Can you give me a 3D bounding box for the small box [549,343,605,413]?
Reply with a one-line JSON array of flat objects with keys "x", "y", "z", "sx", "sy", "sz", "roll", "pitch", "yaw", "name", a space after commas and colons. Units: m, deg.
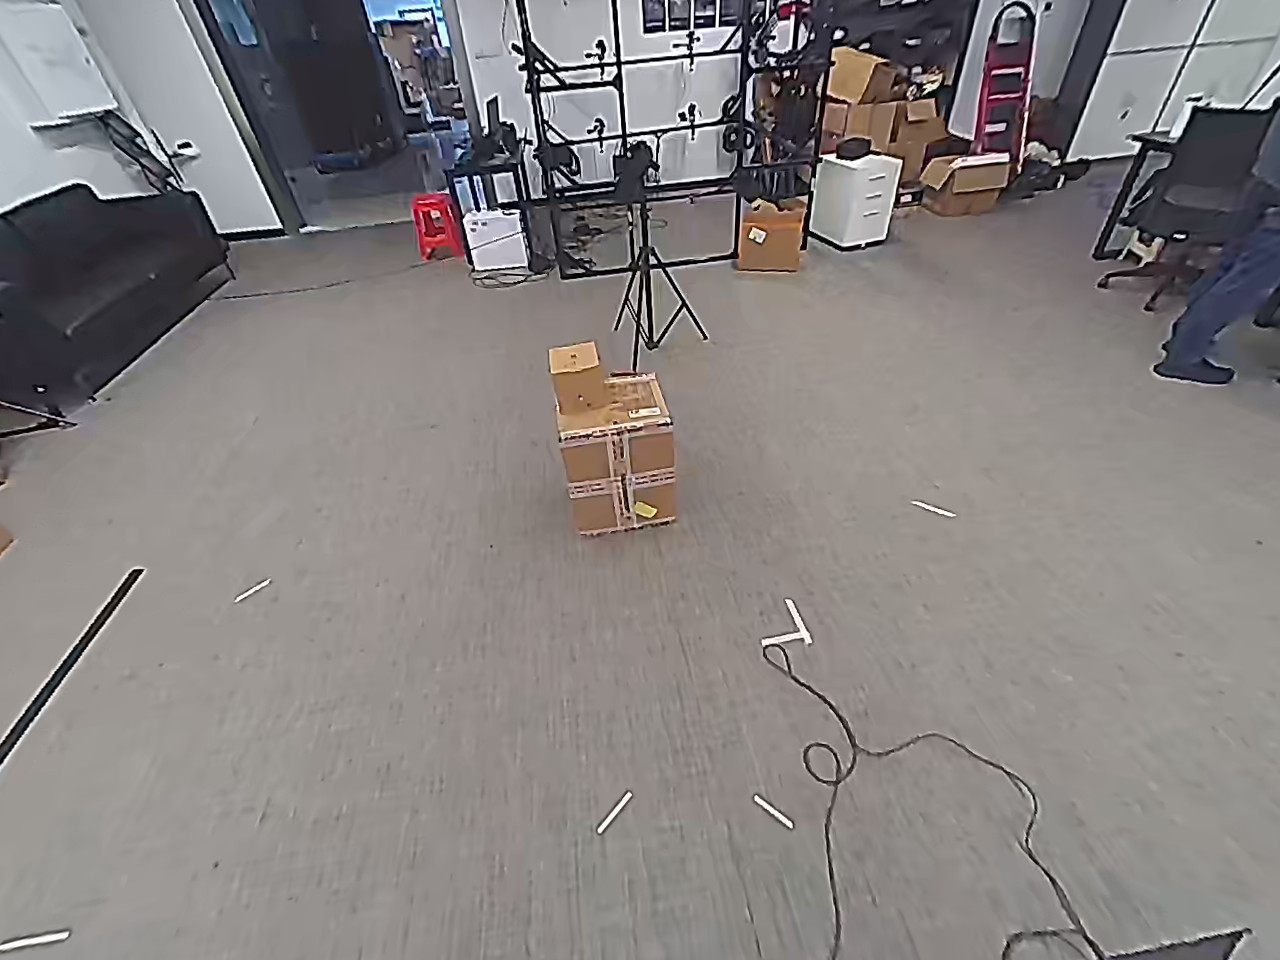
[{"x": -0.225, "y": -0.363, "z": 1.922, "sx": 0.168, "sy": 0.176, "sz": 0.179, "roll": -11, "pitch": 43, "yaw": -3, "name": "small box"}]
